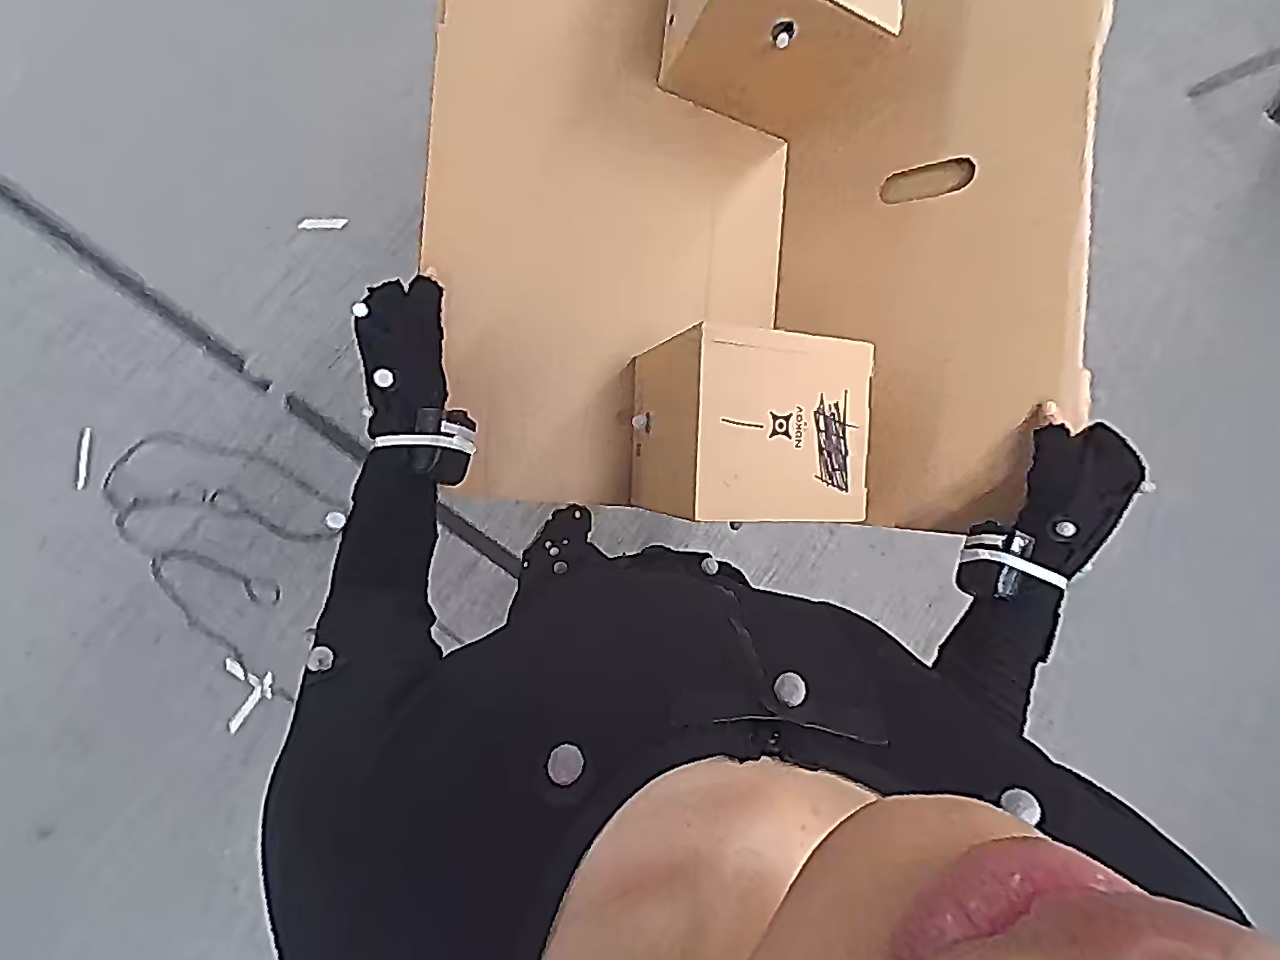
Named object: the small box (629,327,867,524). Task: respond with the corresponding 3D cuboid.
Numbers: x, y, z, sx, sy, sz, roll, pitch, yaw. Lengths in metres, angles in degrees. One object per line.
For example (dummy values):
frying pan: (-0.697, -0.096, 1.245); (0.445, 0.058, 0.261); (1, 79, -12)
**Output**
small box: (0.099, -0.046, 0.547); (0.179, 0.176, 0.168); (0, 91, -19)
